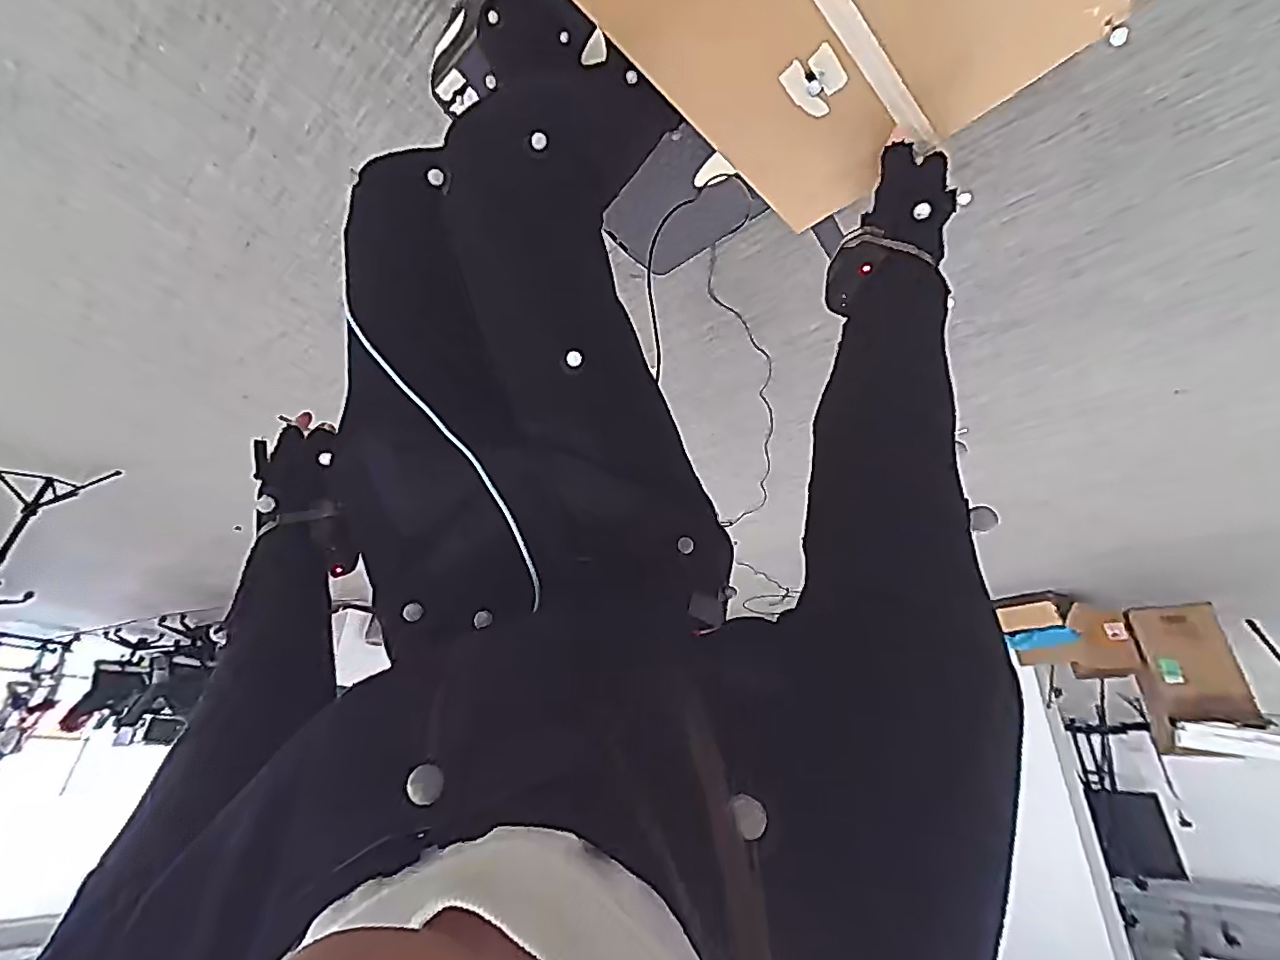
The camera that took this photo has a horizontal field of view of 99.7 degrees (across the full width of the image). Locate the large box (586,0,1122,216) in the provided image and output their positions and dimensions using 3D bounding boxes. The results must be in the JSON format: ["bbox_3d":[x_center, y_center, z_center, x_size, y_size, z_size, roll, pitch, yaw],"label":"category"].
[{"bbox_3d":[0.161,-0.553,0.491,0.408,0.320,0.320,24,153,-34],"label":"large box"}]
